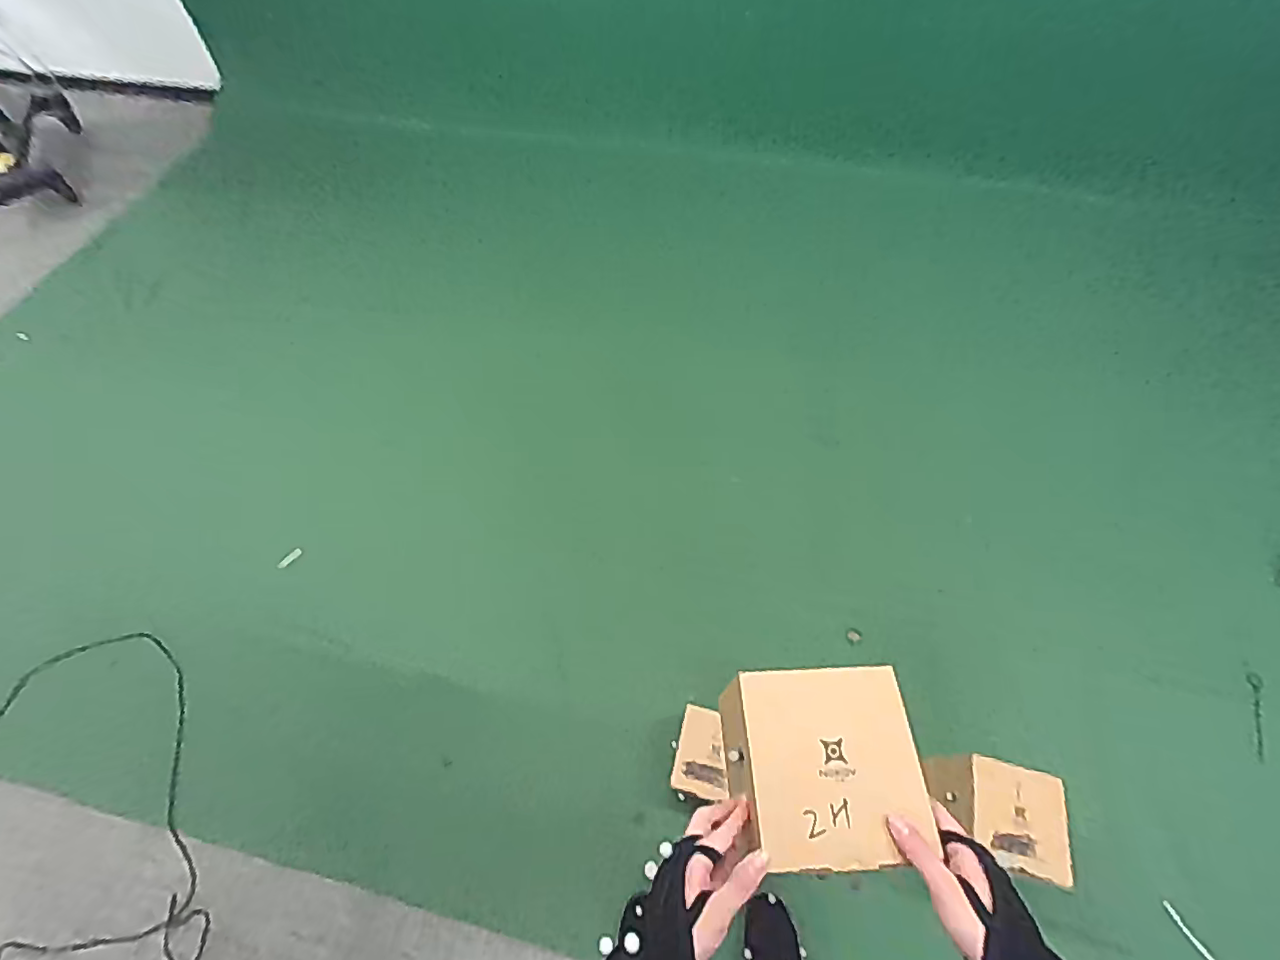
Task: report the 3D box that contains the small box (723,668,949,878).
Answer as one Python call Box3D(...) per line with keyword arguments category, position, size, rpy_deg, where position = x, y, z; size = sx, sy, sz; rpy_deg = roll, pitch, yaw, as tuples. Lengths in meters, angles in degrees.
Box3D(category="small box", position=(0.188, 0.312, 0.583), size=(0.168, 0.176, 0.179), rpy_deg=(-2, 59, -1))

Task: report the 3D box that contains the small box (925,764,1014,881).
Box3D(category="small box", position=(0.701, 0.748, 1.193), size=(0.168, 0.176, 0.179), rpy_deg=(12, 61, 8))

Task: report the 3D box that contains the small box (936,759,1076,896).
Box3D(category="small box", position=(0.698, 0.665, 1.051), size=(0.168, 0.176, 0.179), rpy_deg=(14, 61, 8))
